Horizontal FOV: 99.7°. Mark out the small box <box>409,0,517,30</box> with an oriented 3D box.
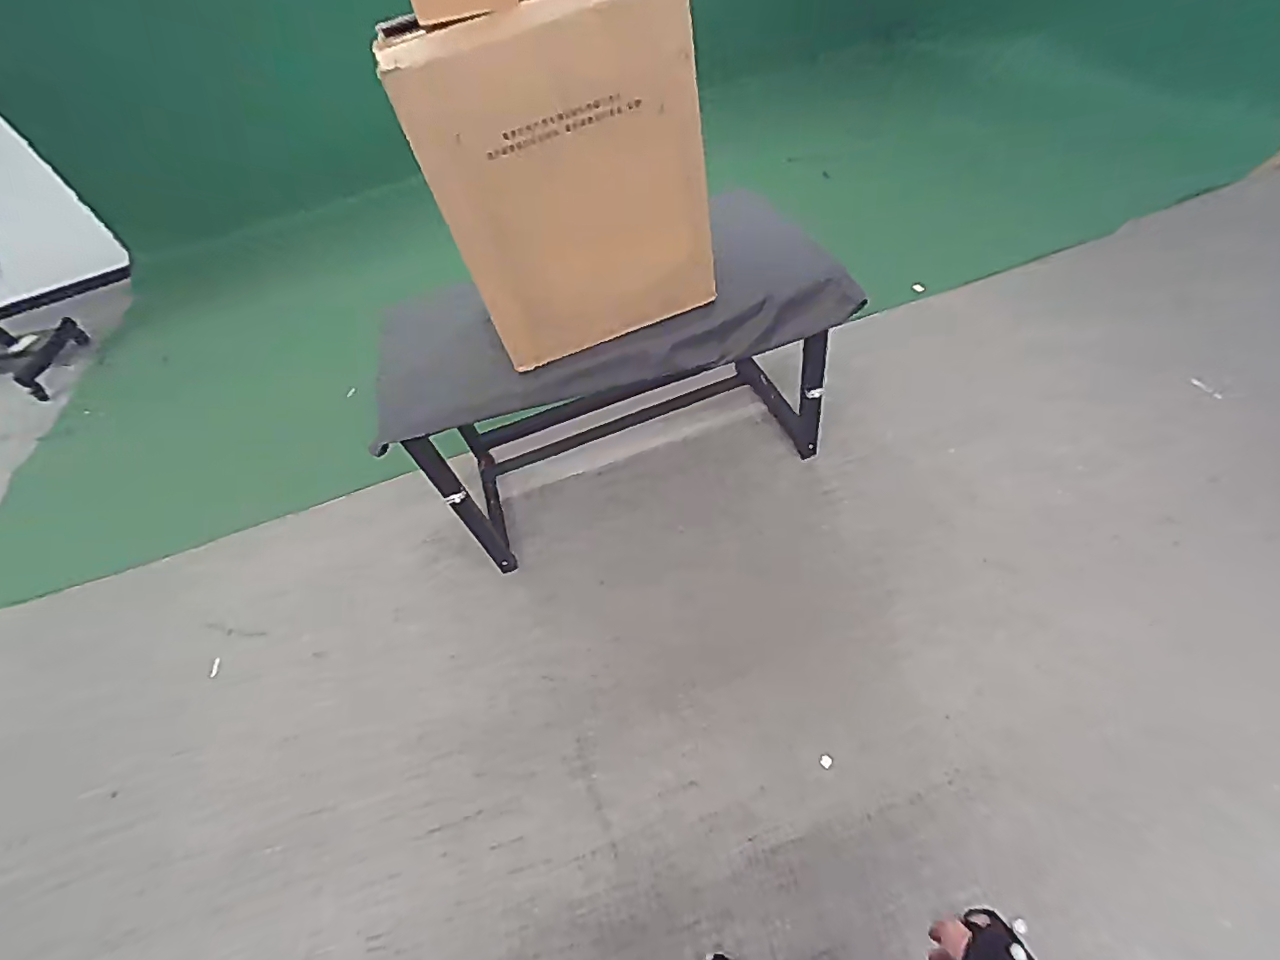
[{"bbox_3d":[-0.318,-0.898,0.909,0.179,0.176,0.168,-11,59,4],"label":"small box"}]
